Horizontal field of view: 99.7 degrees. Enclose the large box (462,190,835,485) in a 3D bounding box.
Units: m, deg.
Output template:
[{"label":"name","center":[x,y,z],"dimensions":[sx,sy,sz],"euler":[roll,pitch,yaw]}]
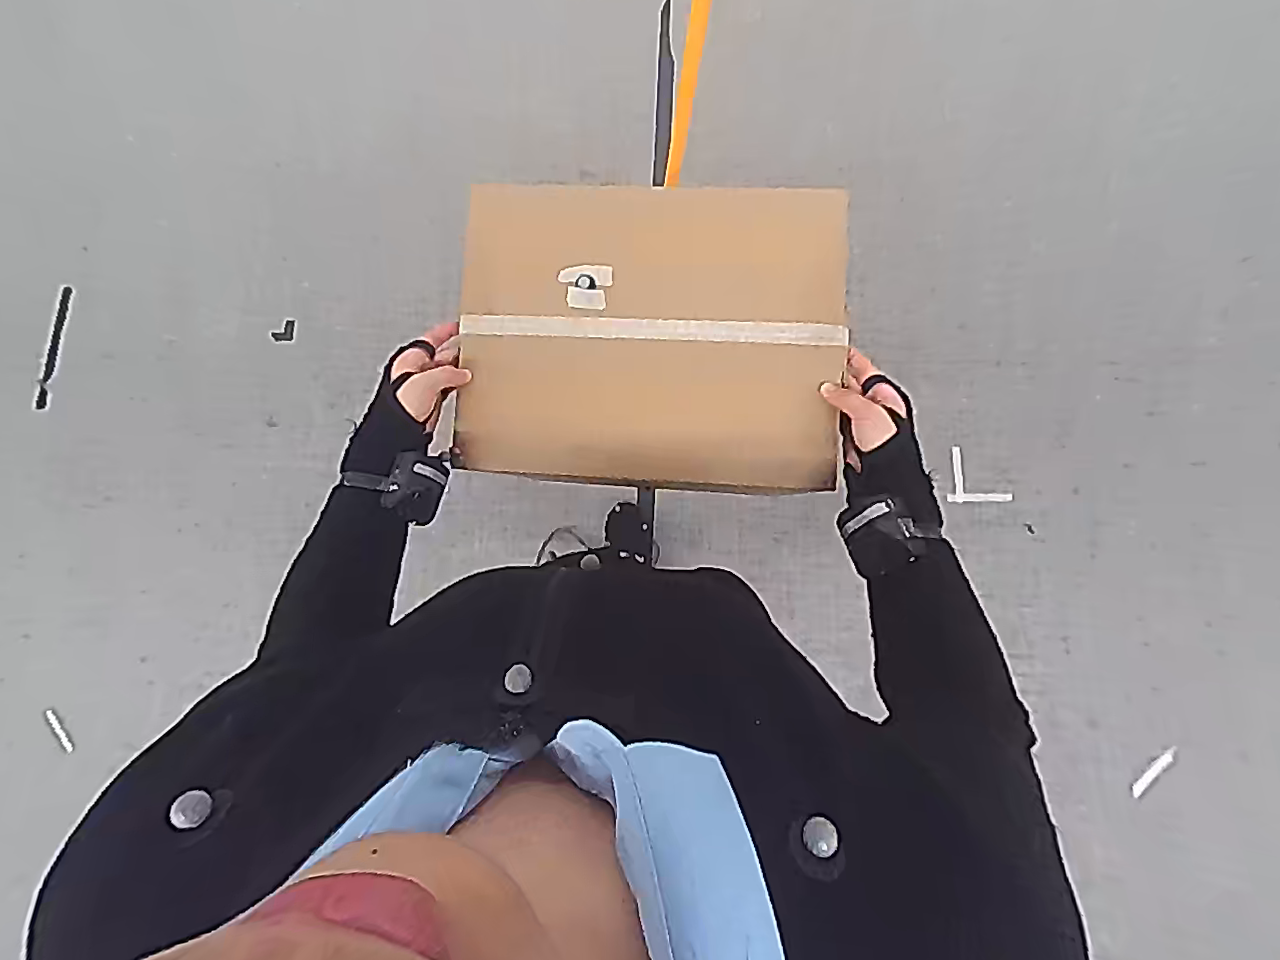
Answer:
[{"label":"large box","center":[0.021,-0.154,0.732],"dimensions":[0.408,0.320,0.320],"euler":[2,86,5]}]
